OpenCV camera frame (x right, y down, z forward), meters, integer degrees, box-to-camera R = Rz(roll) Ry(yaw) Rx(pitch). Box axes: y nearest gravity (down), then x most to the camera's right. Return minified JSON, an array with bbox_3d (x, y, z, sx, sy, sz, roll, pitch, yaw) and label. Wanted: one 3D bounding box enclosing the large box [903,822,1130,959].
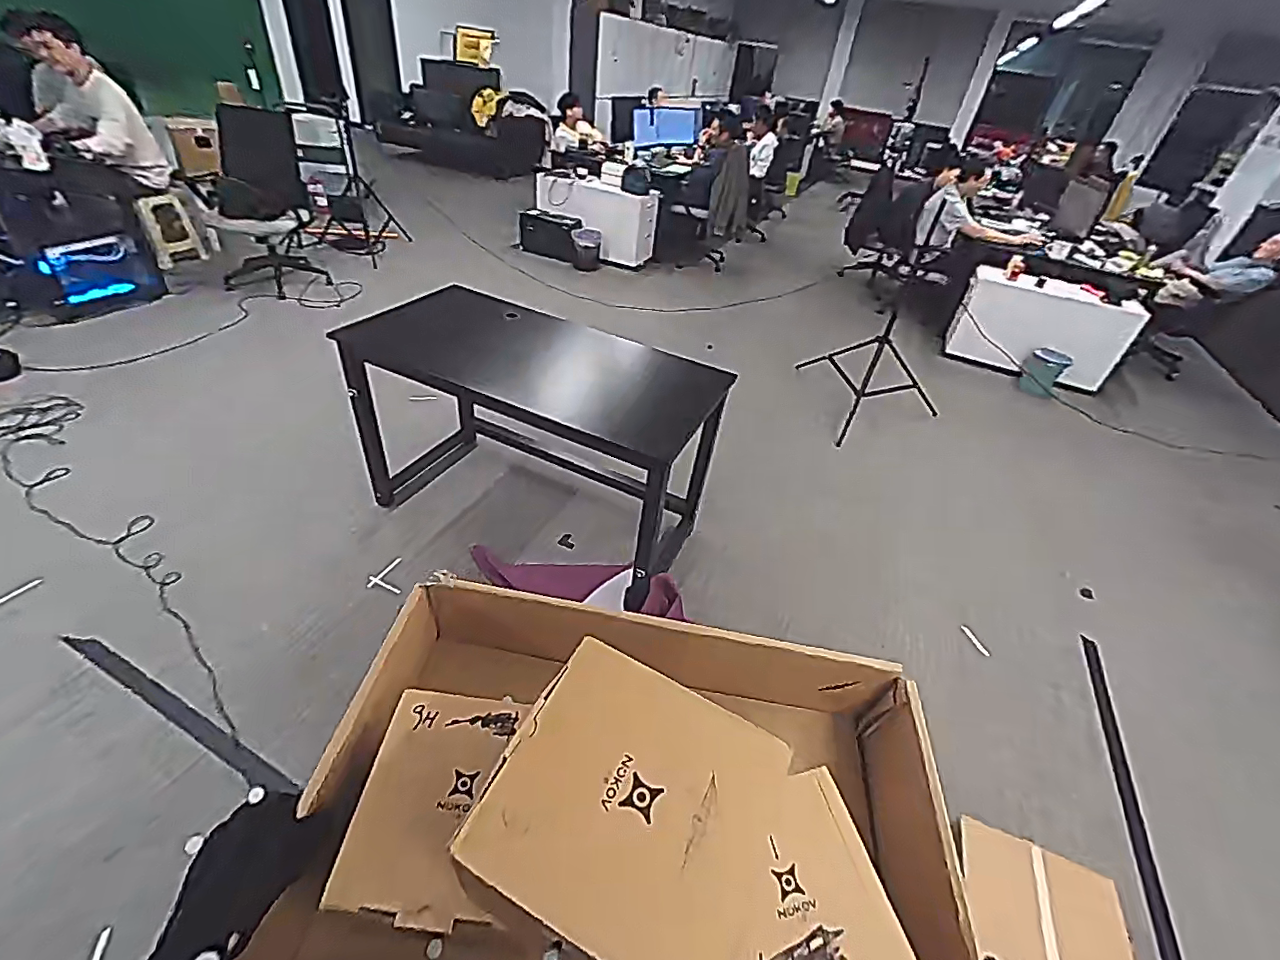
[{"bbox_3d":[0.764,1.031,1.118,0.320,0.320,0.408,18,39,14],"label":"large box"}]
